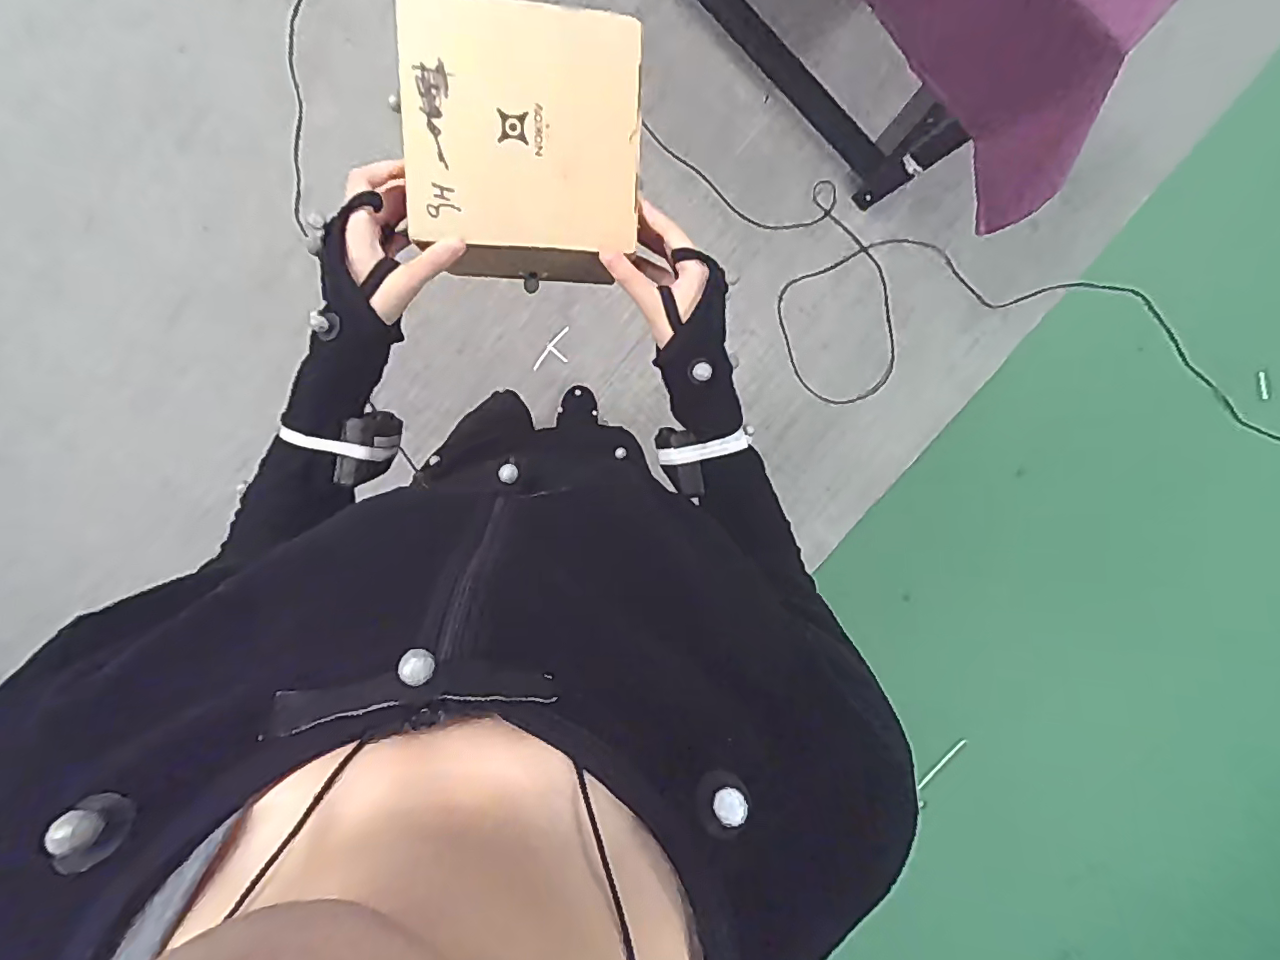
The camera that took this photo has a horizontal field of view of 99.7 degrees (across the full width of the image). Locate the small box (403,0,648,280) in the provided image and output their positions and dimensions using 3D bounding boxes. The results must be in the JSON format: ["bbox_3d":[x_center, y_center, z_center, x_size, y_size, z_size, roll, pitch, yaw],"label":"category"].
[{"bbox_3d":[-0.098,-0.279,0.480,0.179,0.176,0.168,1,101,-11],"label":"small box"}]
